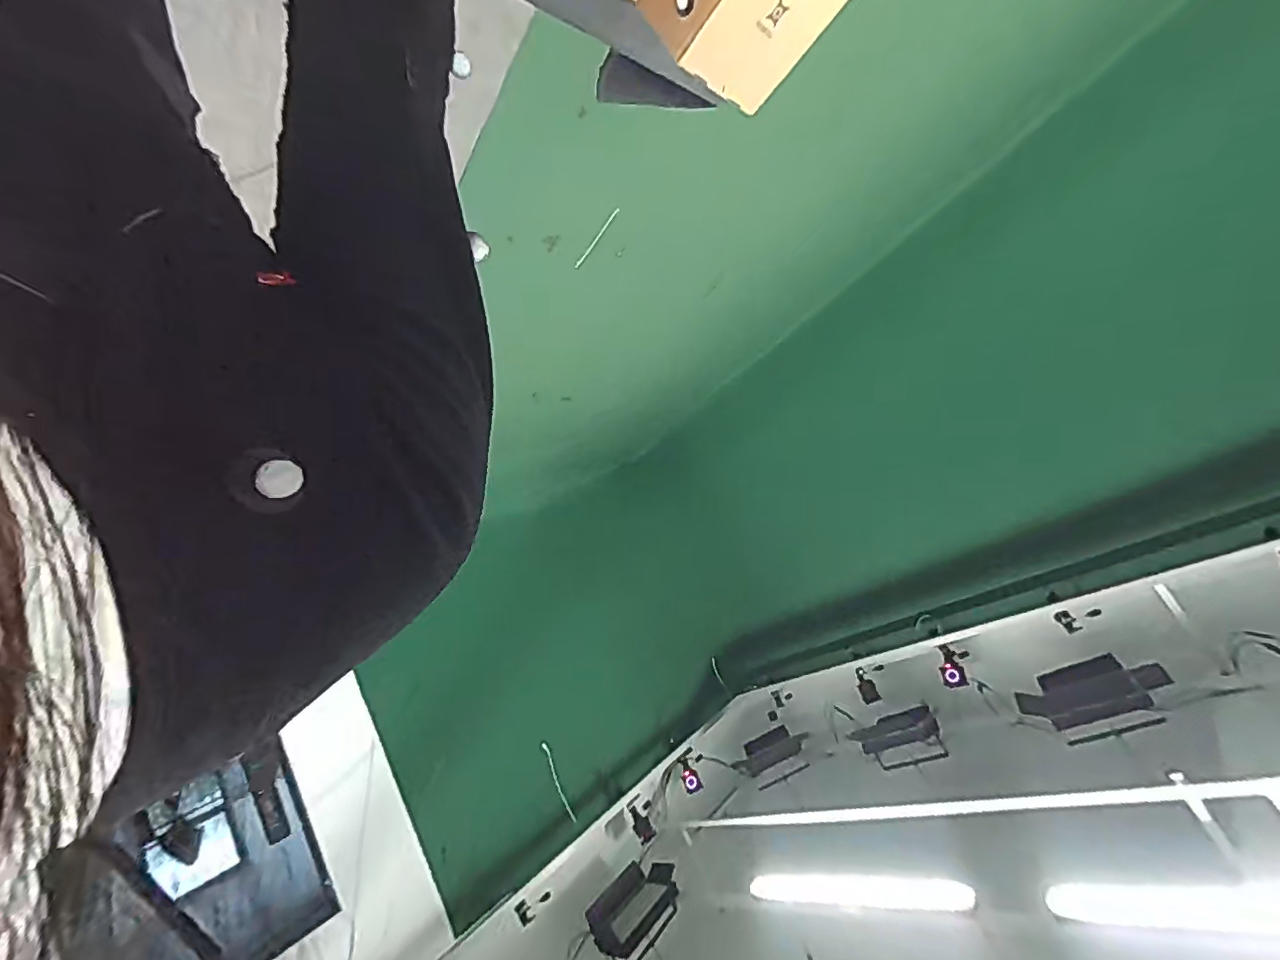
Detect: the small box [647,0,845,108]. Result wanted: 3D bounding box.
[{"bbox_3d":[0.108,-0.570,0.591,0.168,0.176,0.179,-15,162,-49],"label":"small box"}]
